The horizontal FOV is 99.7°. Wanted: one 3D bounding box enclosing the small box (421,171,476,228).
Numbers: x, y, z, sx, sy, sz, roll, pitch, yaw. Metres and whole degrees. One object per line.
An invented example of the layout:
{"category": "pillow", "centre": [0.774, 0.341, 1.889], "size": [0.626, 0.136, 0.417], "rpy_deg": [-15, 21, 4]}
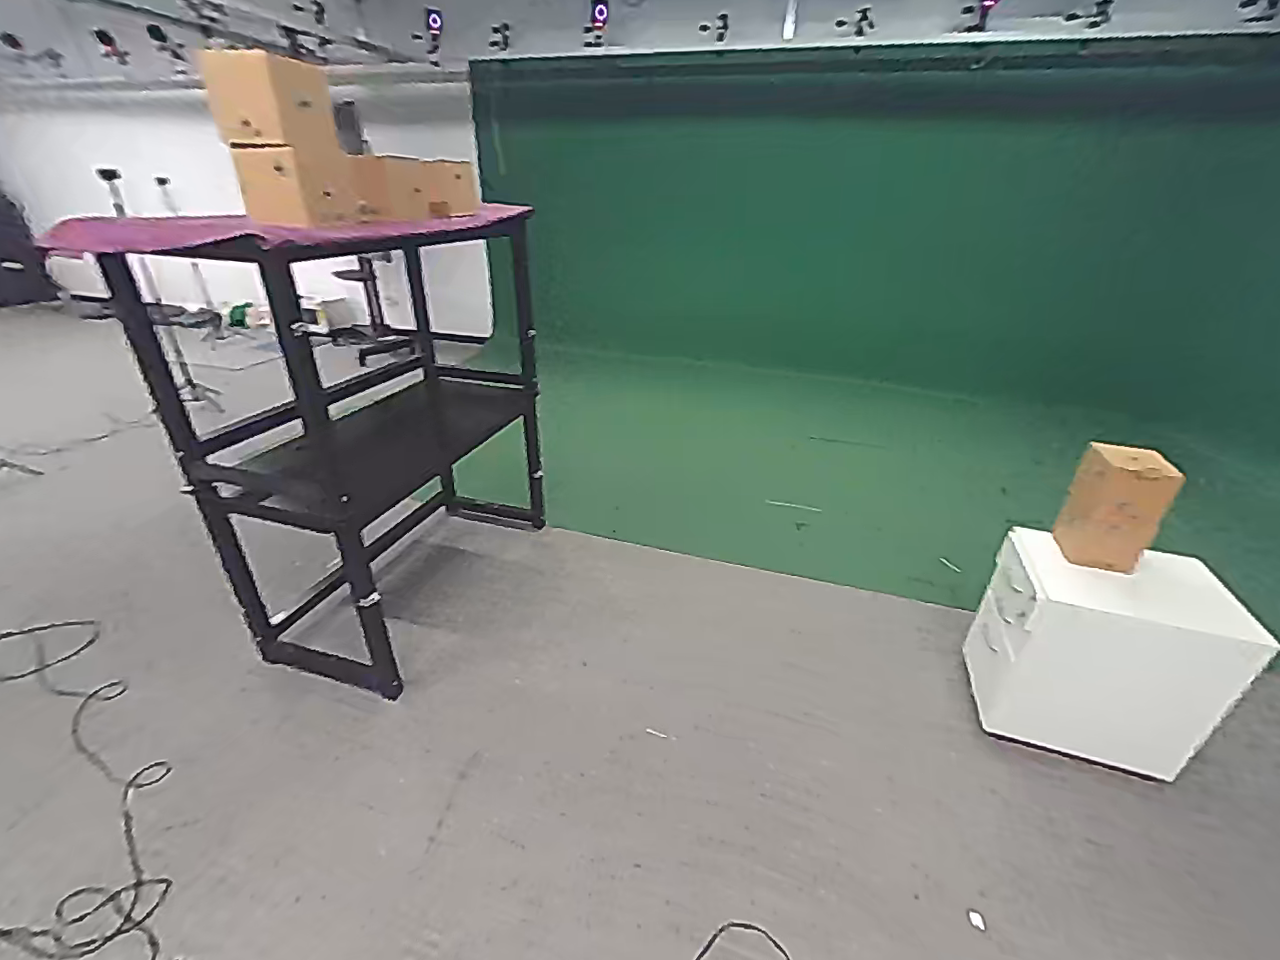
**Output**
{"category": "small box", "centre": [-0.694, -0.979, 1.894], "size": [0.168, 0.176, 0.179], "rpy_deg": [8, 28, 17]}

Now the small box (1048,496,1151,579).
{"category": "small box", "centre": [1.396, 0.173, 1.658], "size": [0.168, 0.176, 0.179], "rpy_deg": [10, 29, 16]}

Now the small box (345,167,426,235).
{"category": "small box", "centre": [-0.761, -0.832, 1.614], "size": [0.168, 0.176, 0.179], "rpy_deg": [8, 29, 13]}

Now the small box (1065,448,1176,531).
{"category": "small box", "centre": [1.395, 0.027, 1.587], "size": [0.168, 0.176, 0.179], "rpy_deg": [11, 30, 15]}

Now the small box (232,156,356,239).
{"category": "small box", "centre": [-0.827, -0.682, 1.313], "size": [0.179, 0.176, 0.168], "rpy_deg": [8, 27, 12]}
